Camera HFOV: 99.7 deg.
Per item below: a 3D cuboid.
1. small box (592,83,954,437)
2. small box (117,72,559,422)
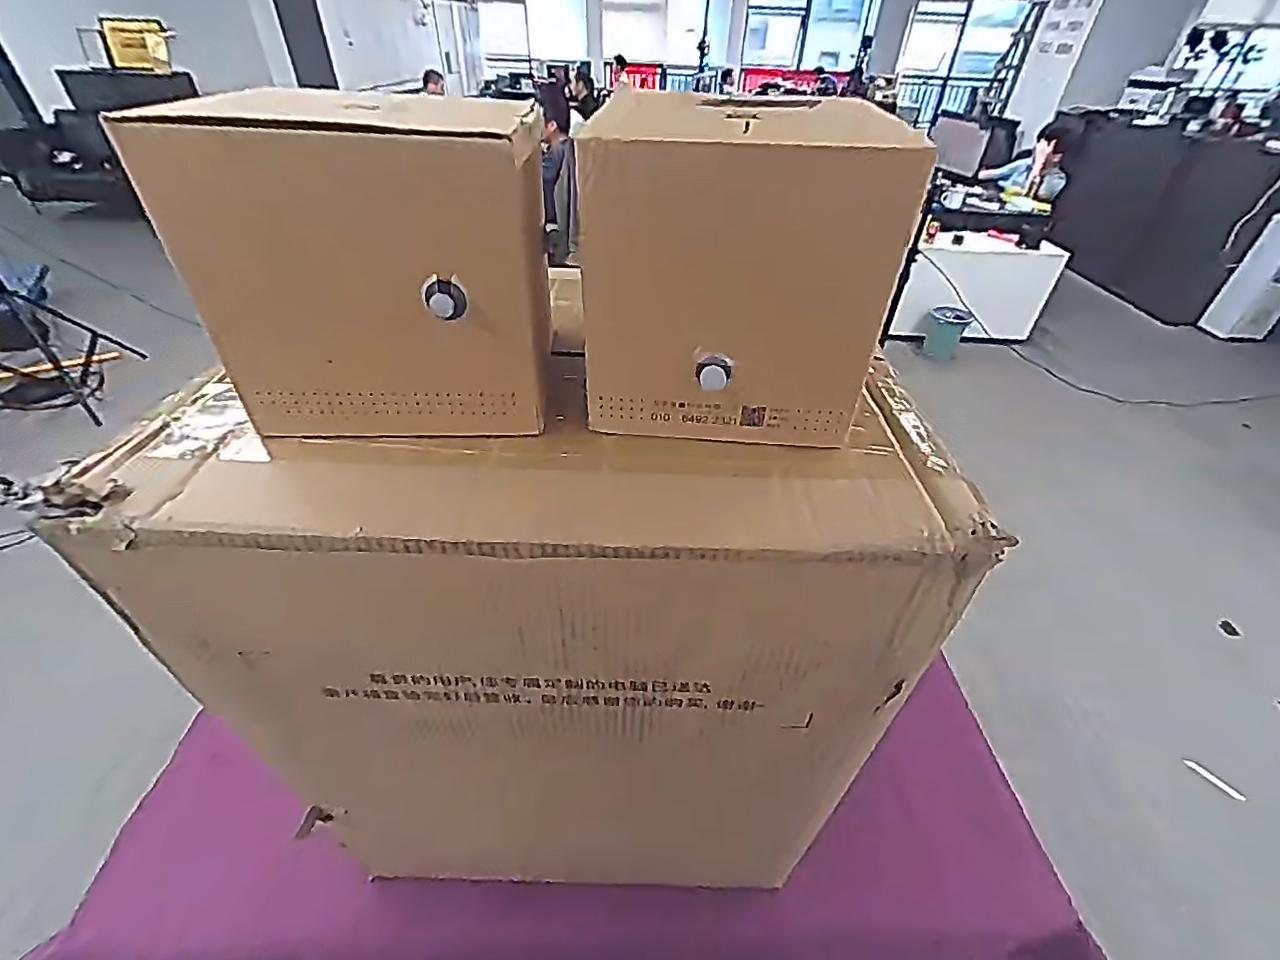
[{"bbox_3d":[0.064,-0.150,0.357,0.168,0.176,0.179,4,40,4],"label":"small box"},{"bbox_3d":[-0.144,-0.147,0.346,0.179,0.176,0.168,-1,38,-5],"label":"small box"}]
